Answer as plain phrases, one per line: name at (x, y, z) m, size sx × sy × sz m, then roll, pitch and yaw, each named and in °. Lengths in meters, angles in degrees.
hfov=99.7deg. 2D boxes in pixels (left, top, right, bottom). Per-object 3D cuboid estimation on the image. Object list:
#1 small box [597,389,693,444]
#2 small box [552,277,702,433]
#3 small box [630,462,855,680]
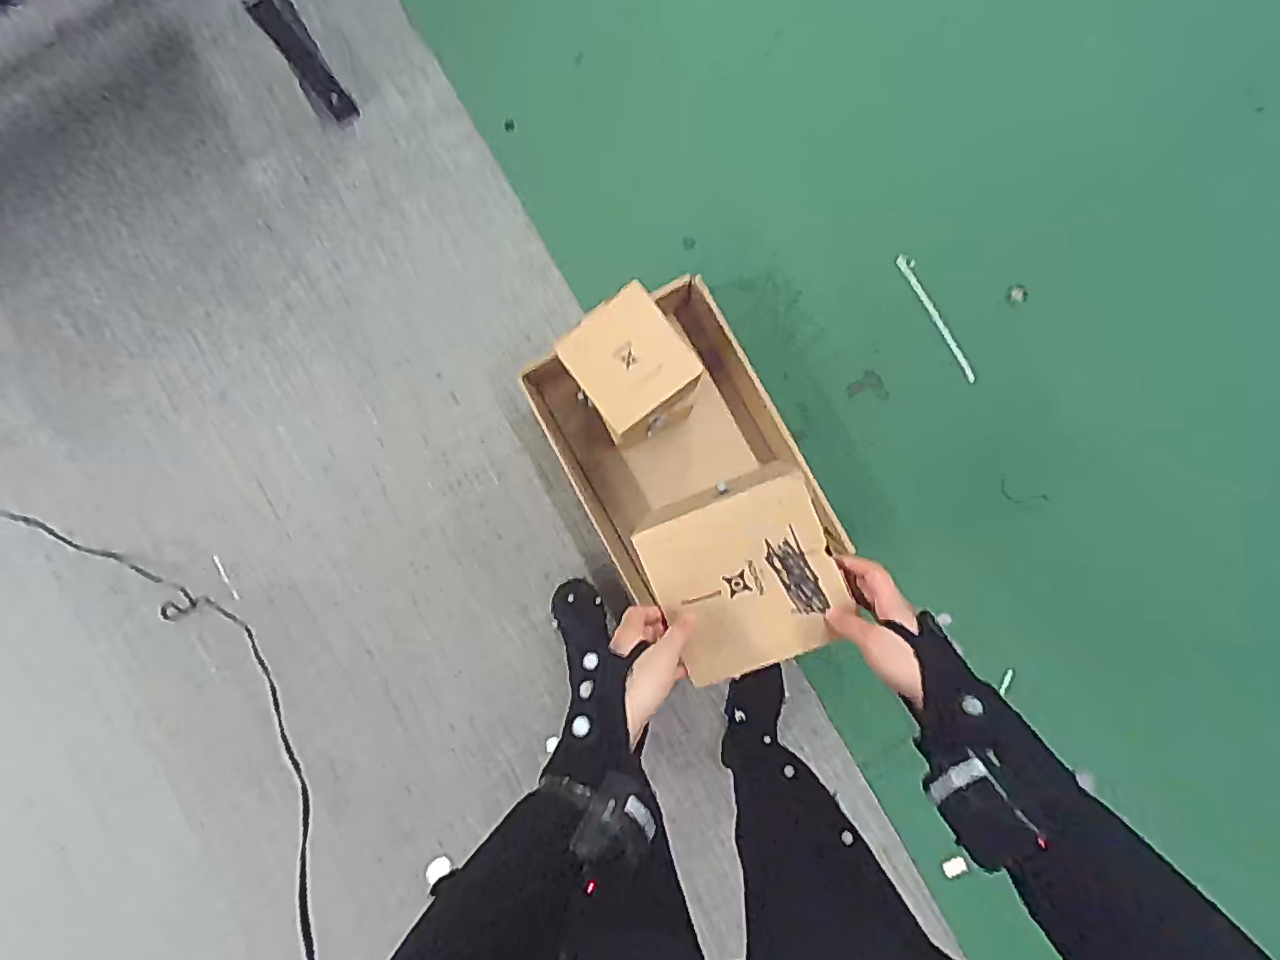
small box at (-0.011, -0.185, 1.057) m, size 0.168 × 0.176 × 0.179 m, roll -27°, pitch 88°, yaw 2°
small box at (-0.019, -0.192, 0.893) m, size 0.168 × 0.176 × 0.179 m, roll -37°, pitch 90°, yaw 2°
small box at (0.107, 0.087, 0.604) m, size 0.179 × 0.176 × 0.168 m, roll -23°, pitch 92°, yaw 9°
